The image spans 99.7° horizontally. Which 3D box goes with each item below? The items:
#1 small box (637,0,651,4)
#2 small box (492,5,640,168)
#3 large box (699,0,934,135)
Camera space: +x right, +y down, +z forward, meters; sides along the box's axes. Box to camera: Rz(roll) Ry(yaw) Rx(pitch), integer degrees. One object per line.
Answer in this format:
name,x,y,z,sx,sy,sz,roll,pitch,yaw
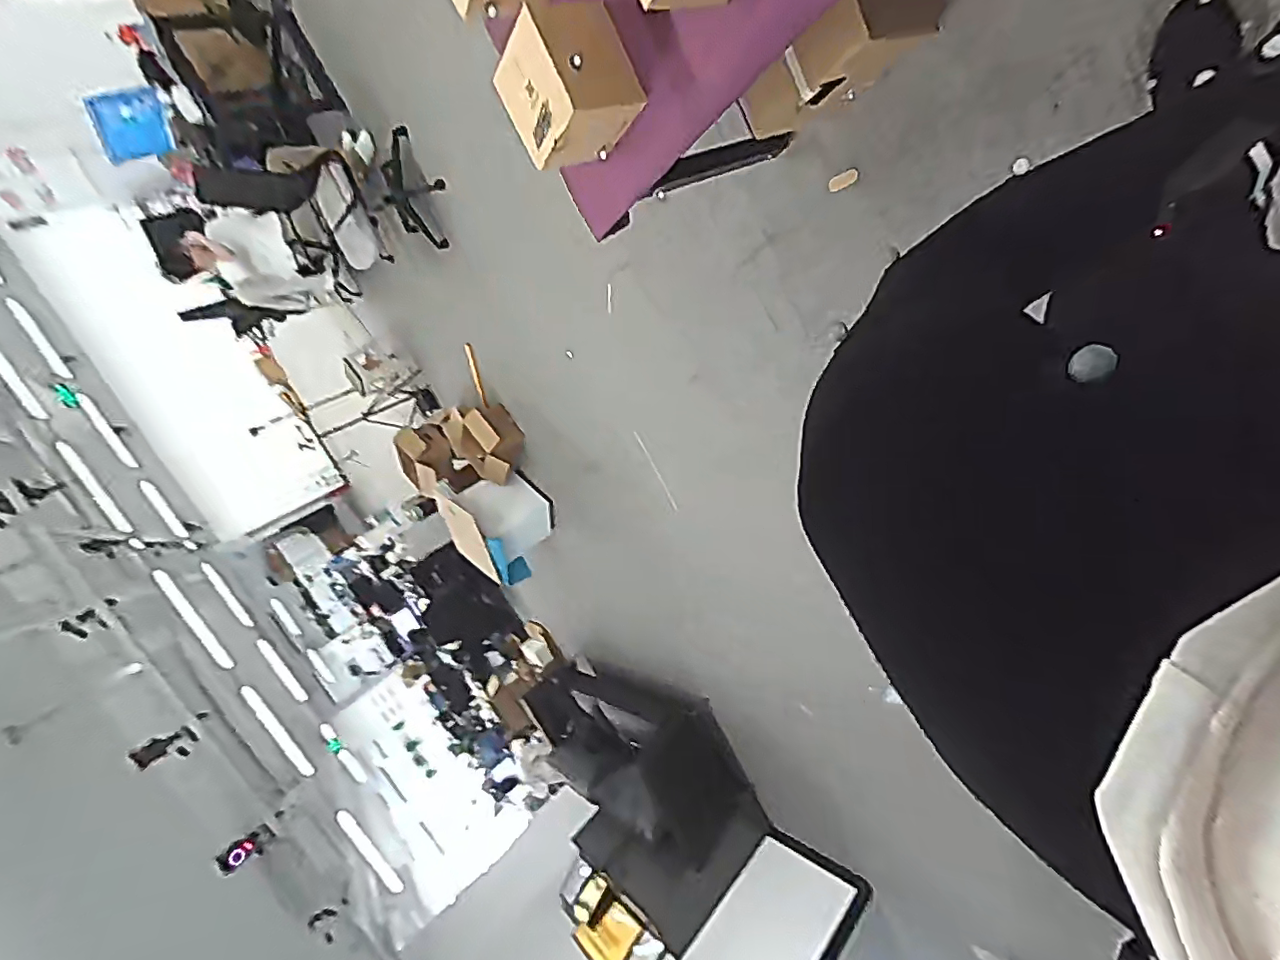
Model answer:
small box,0.068,-0.738,0.665,0.168,0.176,0.179,-7,112,57
small box,-0.129,-0.701,0.968,0.168,0.176,0.179,-12,107,57
large box,0.378,-1.078,1.206,0.320,0.320,0.408,-11,109,56
